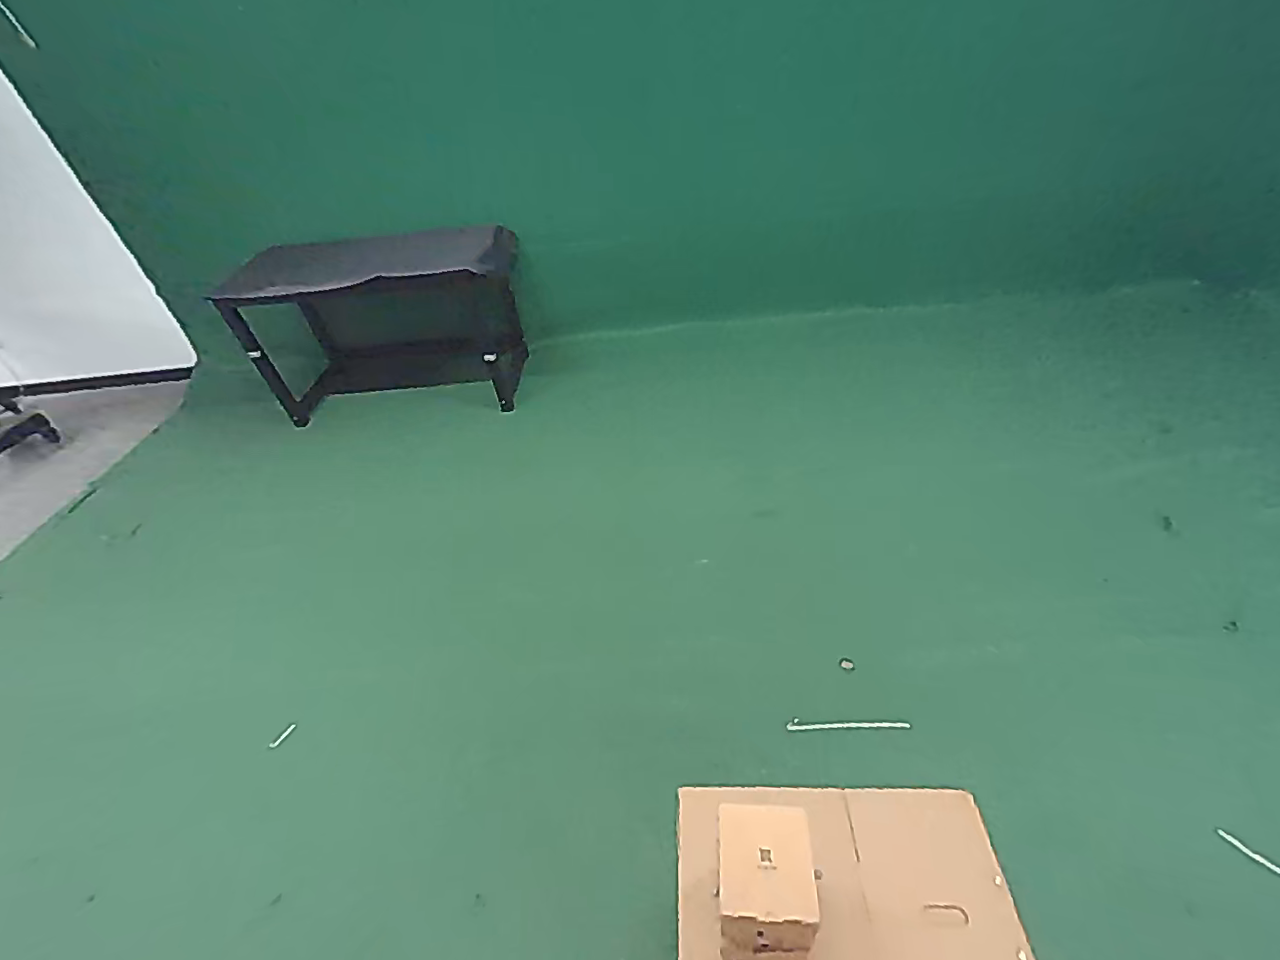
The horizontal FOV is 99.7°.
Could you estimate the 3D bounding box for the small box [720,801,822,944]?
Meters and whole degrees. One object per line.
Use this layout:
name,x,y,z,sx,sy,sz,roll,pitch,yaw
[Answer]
small box,0.234,0.729,1.007,0.168,0.176,0.179,-1,41,8

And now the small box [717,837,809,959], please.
small box,0.246,0.860,1.104,0.168,0.176,0.179,-3,40,8
